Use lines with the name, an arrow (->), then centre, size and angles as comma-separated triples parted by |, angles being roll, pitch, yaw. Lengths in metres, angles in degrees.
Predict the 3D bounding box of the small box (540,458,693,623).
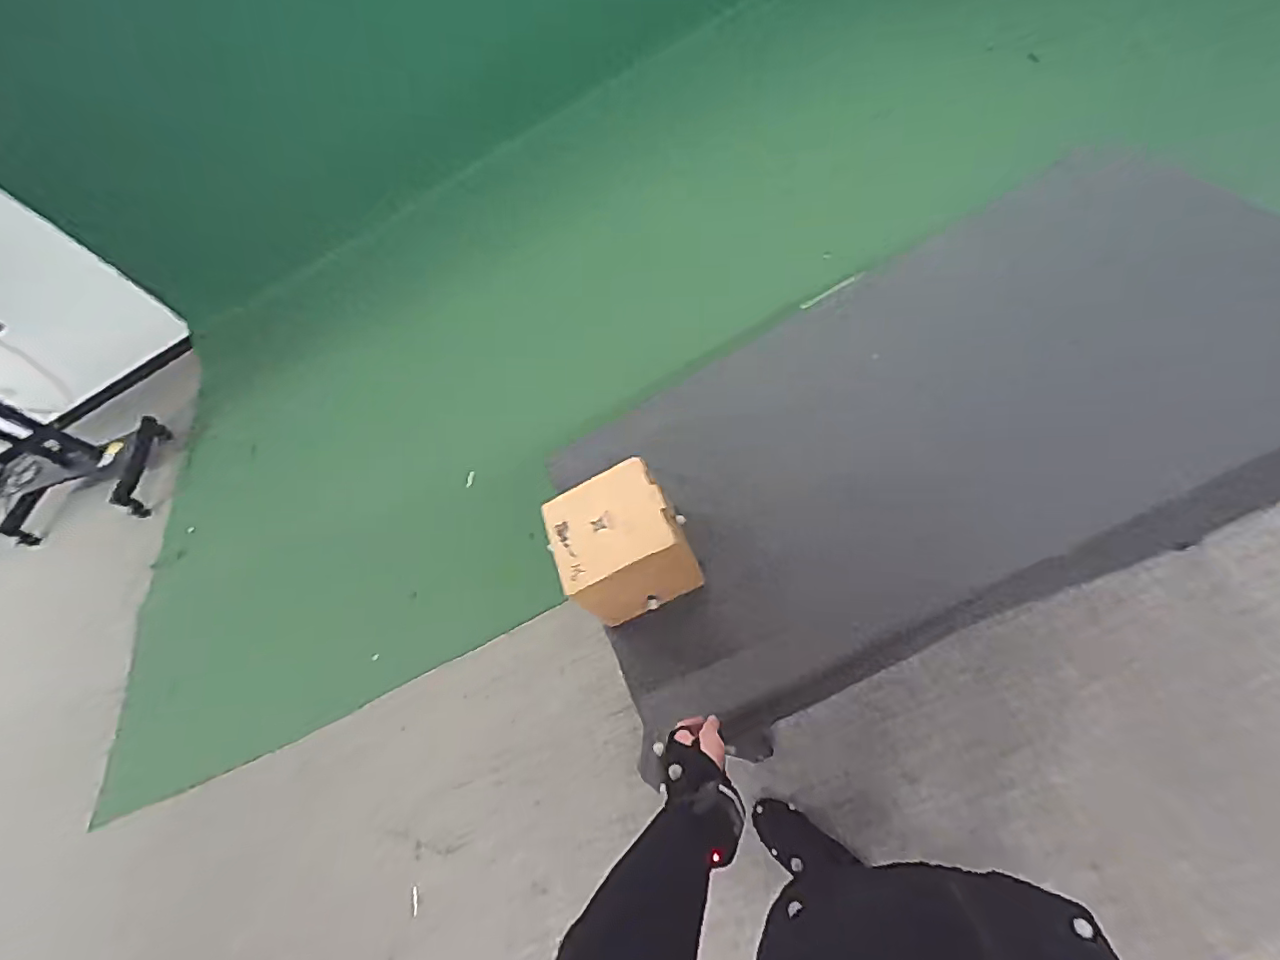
small box -> -0.029, 0.102, 0.851 | 0.179, 0.176, 0.168 | -27, 54, 6
